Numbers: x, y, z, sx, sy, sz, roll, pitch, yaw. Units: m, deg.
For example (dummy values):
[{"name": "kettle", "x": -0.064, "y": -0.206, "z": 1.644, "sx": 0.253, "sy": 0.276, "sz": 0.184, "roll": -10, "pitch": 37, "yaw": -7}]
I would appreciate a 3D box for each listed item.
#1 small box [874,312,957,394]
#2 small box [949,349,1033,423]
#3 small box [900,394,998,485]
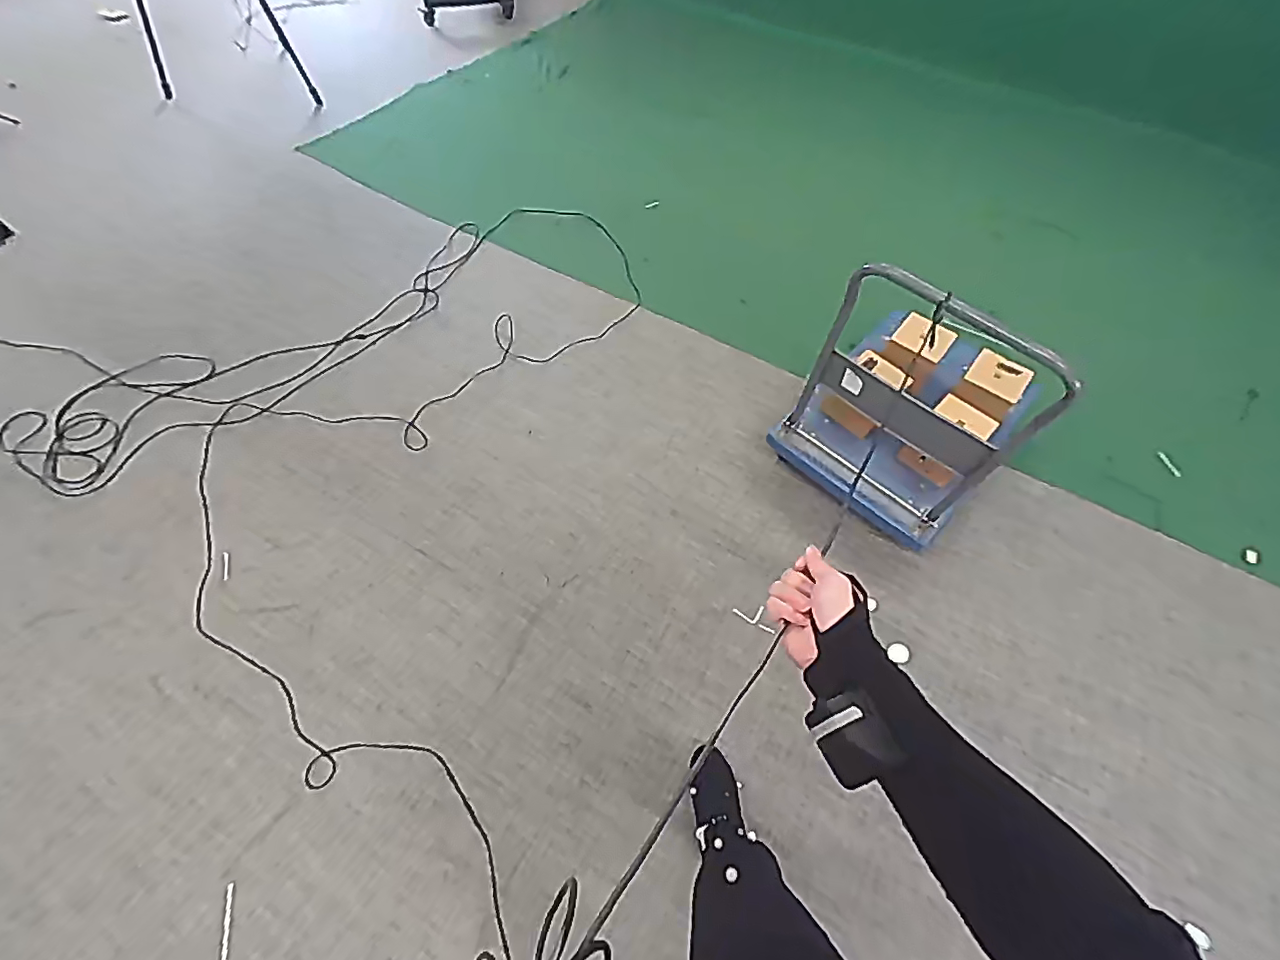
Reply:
[{"name": "small box", "x": 0.924, "y": -0.424, "z": 1.831, "sx": 0.168, "sy": 0.176, "sz": 0.179, "roll": 37, "pitch": 63, "yaw": 18}, {"name": "small box", "x": 1.117, "y": -0.284, "z": 1.752, "sx": 0.168, "sy": 0.176, "sz": 0.179, "roll": 36, "pitch": 64, "yaw": 19}, {"name": "small box", "x": 0.931, "y": -0.121, "z": 1.644, "sx": 0.168, "sy": 0.176, "sz": 0.179, "roll": 41, "pitch": 65, "yaw": 20}]
